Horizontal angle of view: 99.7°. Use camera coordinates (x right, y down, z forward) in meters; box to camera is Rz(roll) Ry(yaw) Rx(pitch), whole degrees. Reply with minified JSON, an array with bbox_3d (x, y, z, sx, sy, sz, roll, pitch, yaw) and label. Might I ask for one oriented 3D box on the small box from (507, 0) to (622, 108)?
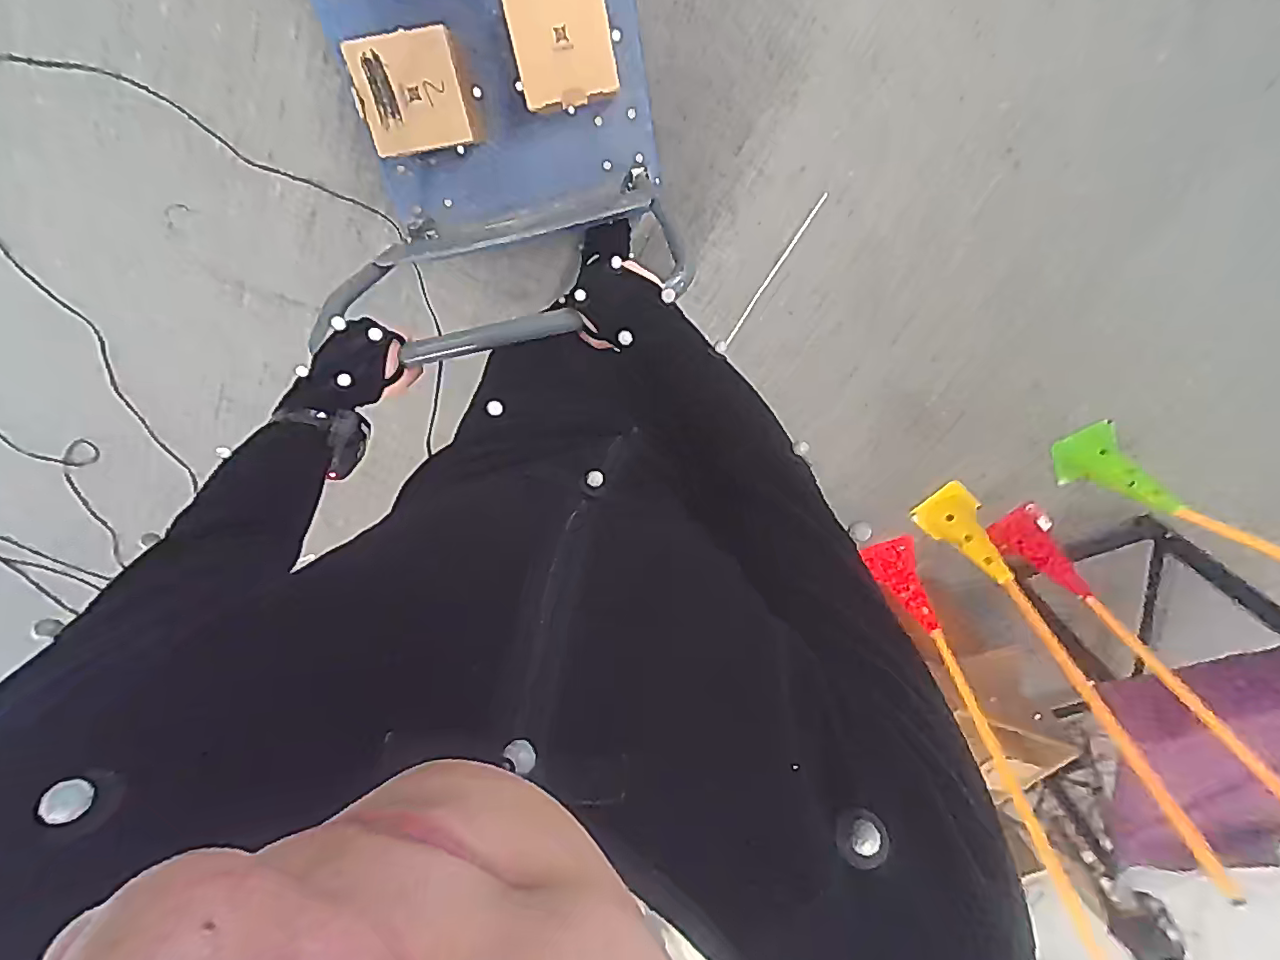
[{"bbox_3d":[-0.132,-0.784,0.962,0.168,0.176,0.179,-11,124,2],"label":"small box"}]
